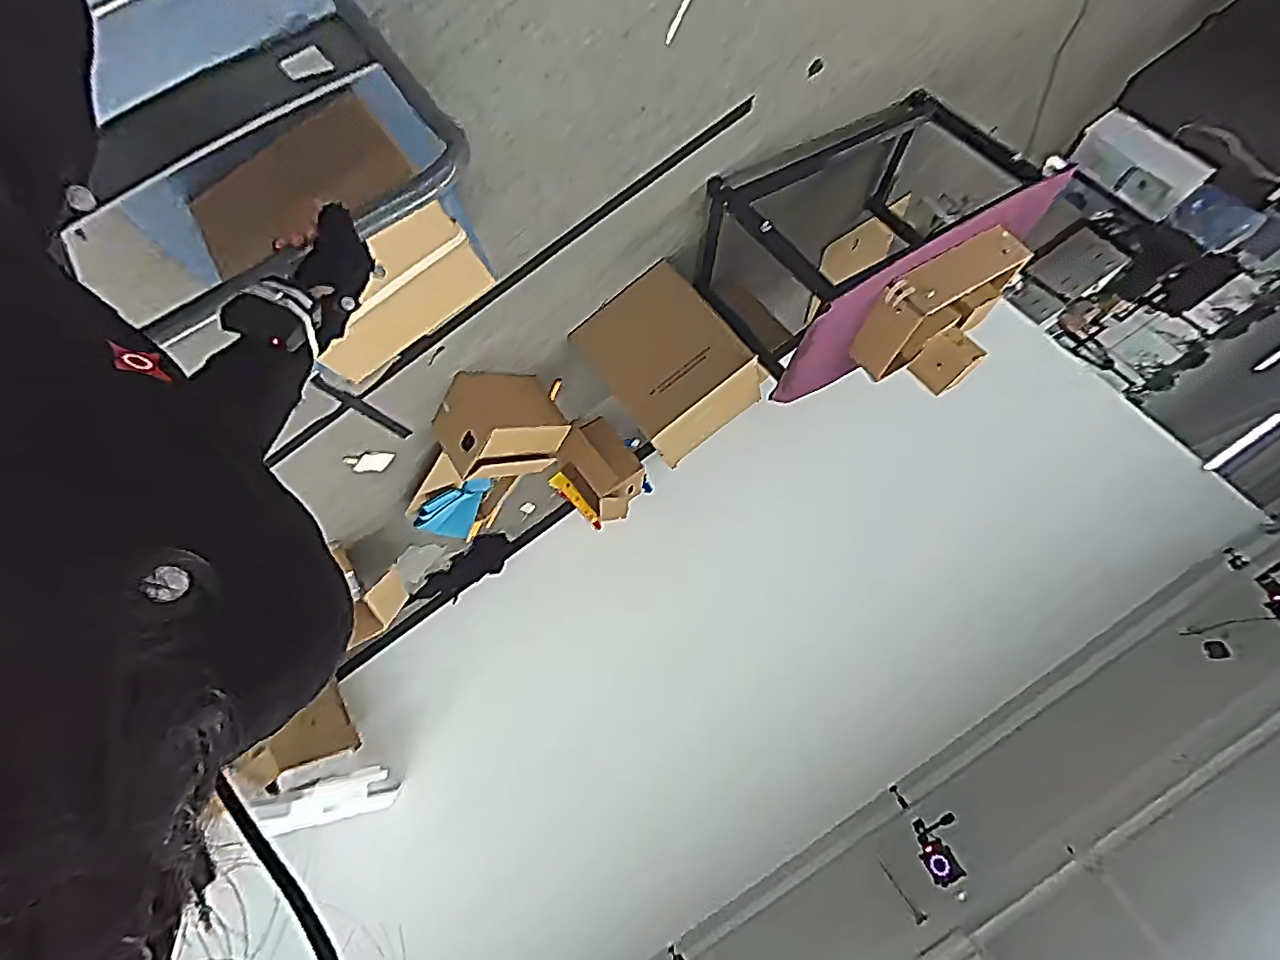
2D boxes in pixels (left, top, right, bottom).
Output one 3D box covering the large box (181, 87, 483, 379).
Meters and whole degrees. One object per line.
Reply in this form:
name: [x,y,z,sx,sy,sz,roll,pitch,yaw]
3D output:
large box: [-0.623,-0.498,1.135,0.408,0.320,0.320,-35,159,0]
